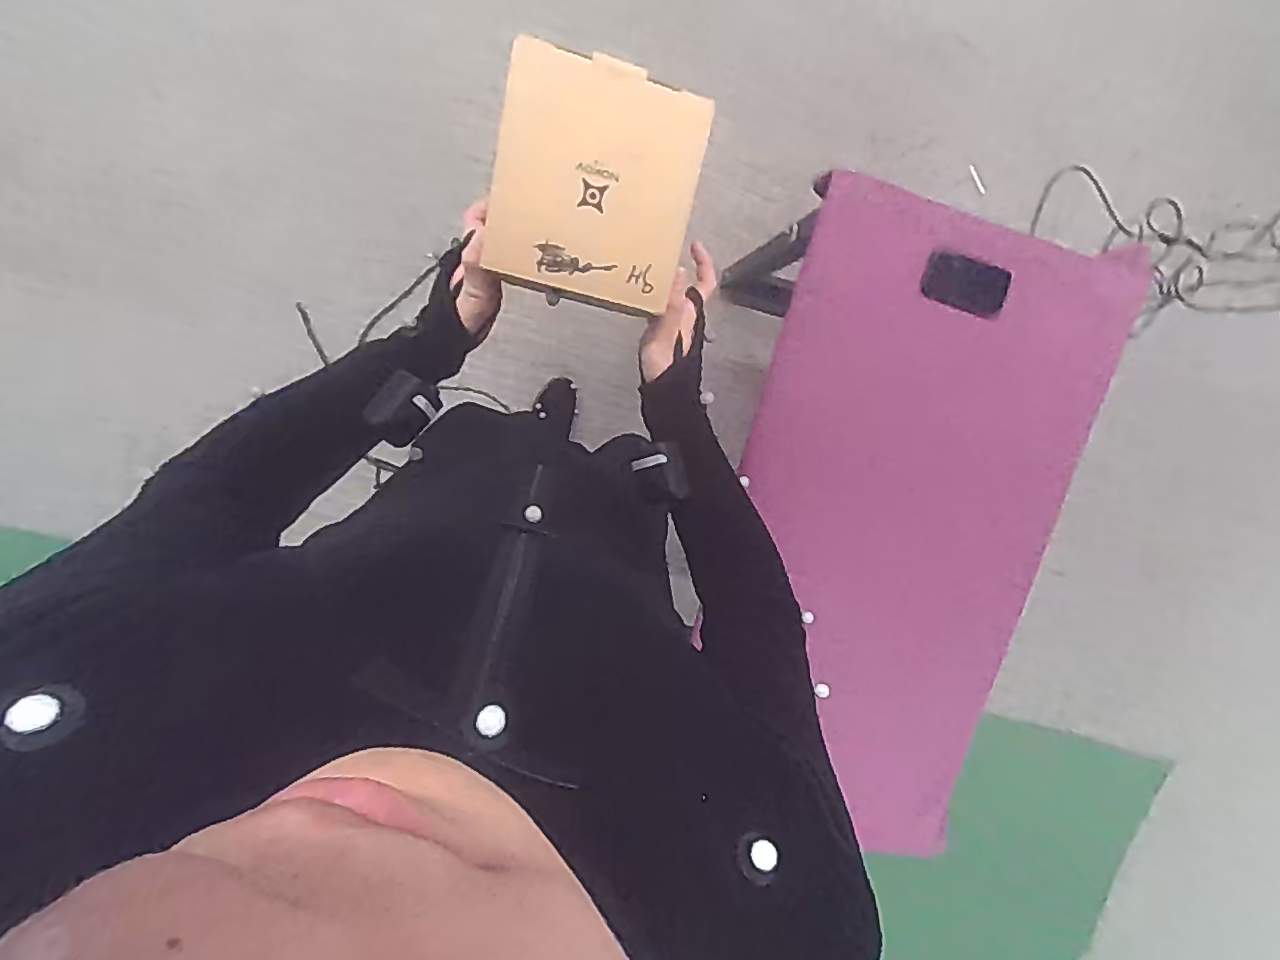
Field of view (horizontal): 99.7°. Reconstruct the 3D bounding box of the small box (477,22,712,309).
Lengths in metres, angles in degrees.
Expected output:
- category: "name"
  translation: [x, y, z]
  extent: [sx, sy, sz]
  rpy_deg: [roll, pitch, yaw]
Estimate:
- category: "small box"
  translation: [-0.048, -0.272, 0.518]
  extent: [0.168, 0.176, 0.179]
  rpy_deg: [11, 104, -10]
